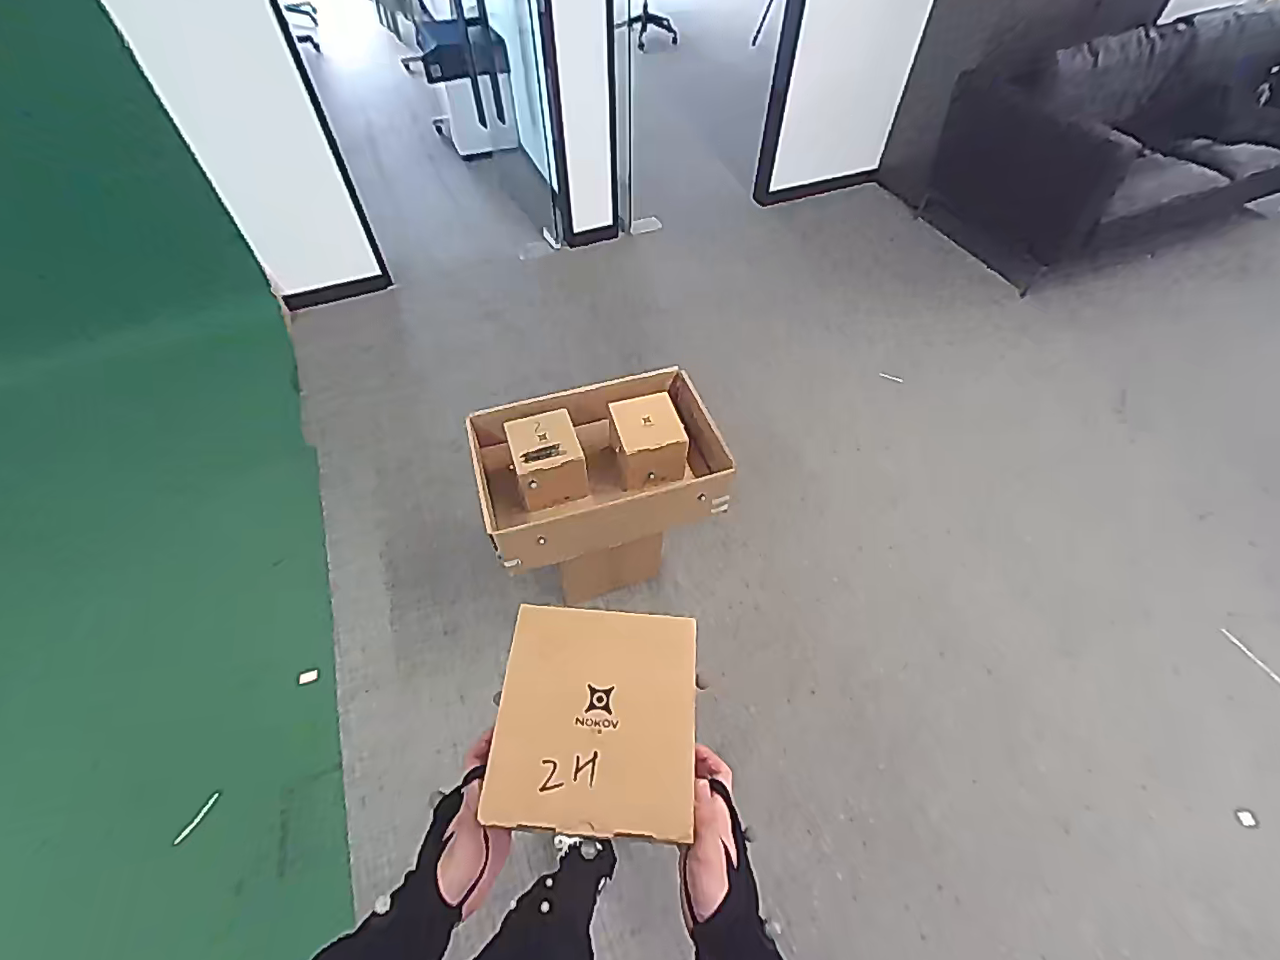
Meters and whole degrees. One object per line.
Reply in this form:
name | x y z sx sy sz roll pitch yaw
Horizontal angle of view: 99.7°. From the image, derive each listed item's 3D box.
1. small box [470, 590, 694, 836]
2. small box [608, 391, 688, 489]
small box | -0.042 0.224 0.513 0.168 0.176 0.179 4 55 2
small box | 0.014 -0.104 1.429 0.168 0.176 0.179 -14 56 -11
